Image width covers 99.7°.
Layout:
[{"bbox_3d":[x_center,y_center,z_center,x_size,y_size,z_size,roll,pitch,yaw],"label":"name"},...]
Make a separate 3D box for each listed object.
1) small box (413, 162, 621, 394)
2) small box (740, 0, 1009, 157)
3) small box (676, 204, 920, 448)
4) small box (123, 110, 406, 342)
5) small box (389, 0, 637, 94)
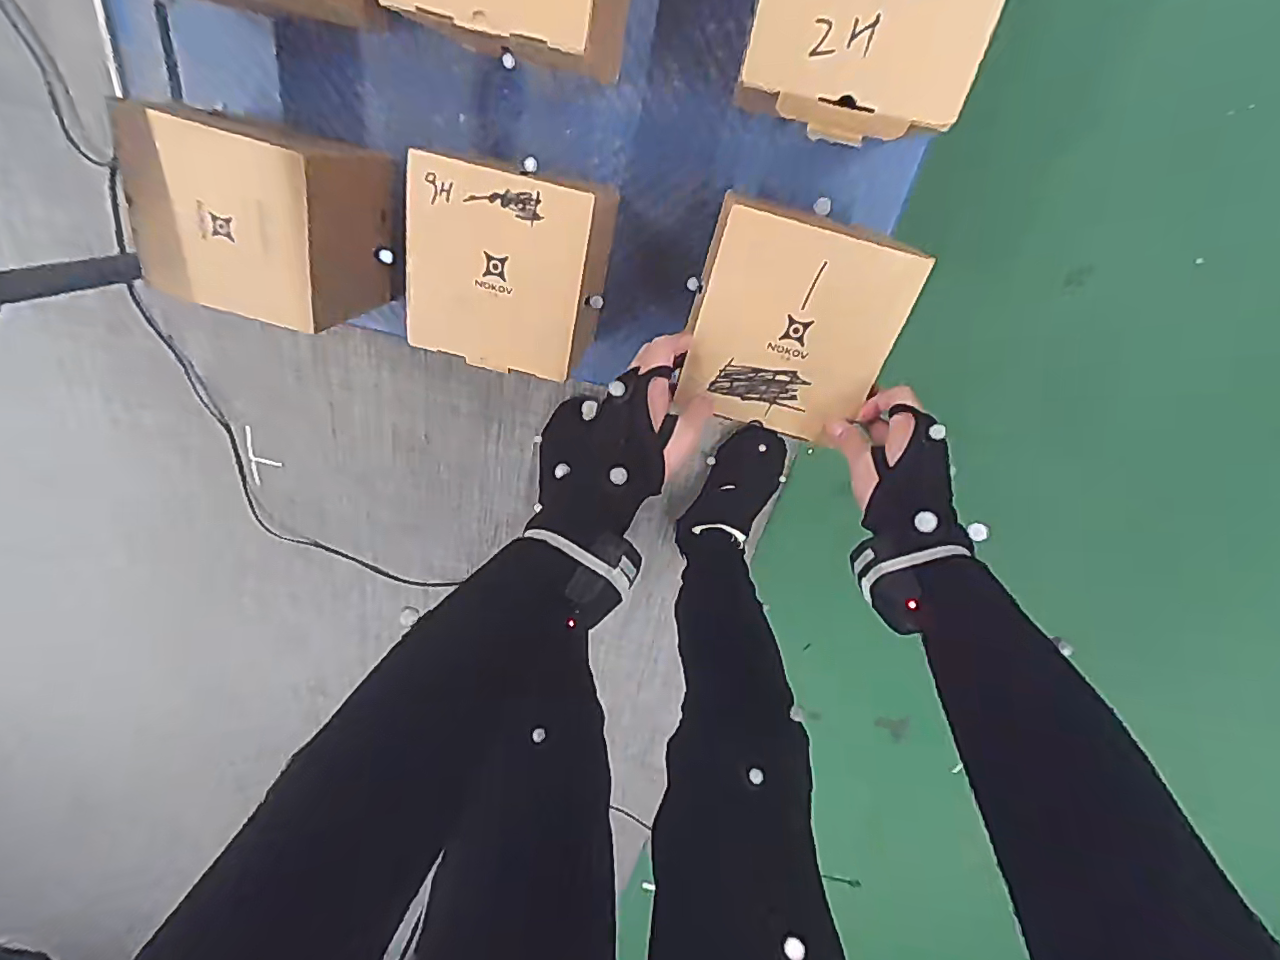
[{"bbox_3d":[-0.122,-0.219,0.575,0.168,0.176,0.179,15,120,-2],"label":"small box"},{"bbox_3d":[0.184,-0.386,0.446,0.168,0.176,0.179,13,119,0],"label":"small box"},{"bbox_3d":[0.142,-0.163,0.551,0.168,0.176,0.179,15,121,-3],"label":"small box"},{"bbox_3d":[-0.378,-0.268,0.579,0.179,0.176,0.168,15,120,-3],"label":"small box"},{"bbox_3d":[-0.088,-0.449,0.447,0.168,0.176,0.179,14,121,-1],"label":"small box"}]
